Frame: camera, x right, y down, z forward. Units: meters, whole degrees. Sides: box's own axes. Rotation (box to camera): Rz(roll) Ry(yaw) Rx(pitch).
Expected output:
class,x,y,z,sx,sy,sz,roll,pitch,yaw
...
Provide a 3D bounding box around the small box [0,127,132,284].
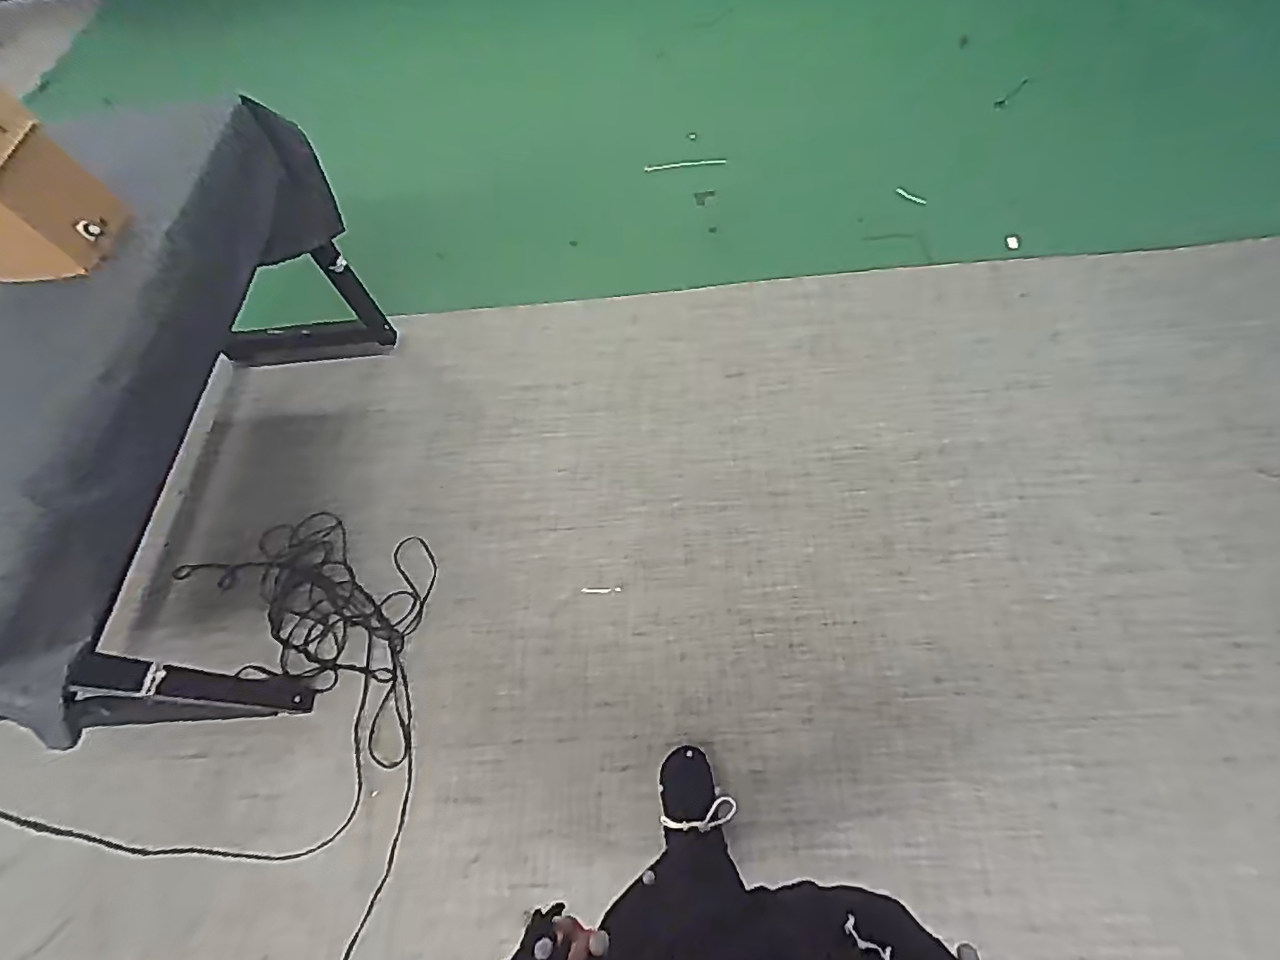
class,x,y,z,sx,sy,sz,roll,pitch,yaw
small box,-1.031,-0.449,0.903,0.179,0.176,0.168,-3,63,4

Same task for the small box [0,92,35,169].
class,x,y,z,sx,sy,sz,roll,pitch,yaw
small box,-1.038,-0.520,0.757,0.179,0.176,0.168,-5,63,5
